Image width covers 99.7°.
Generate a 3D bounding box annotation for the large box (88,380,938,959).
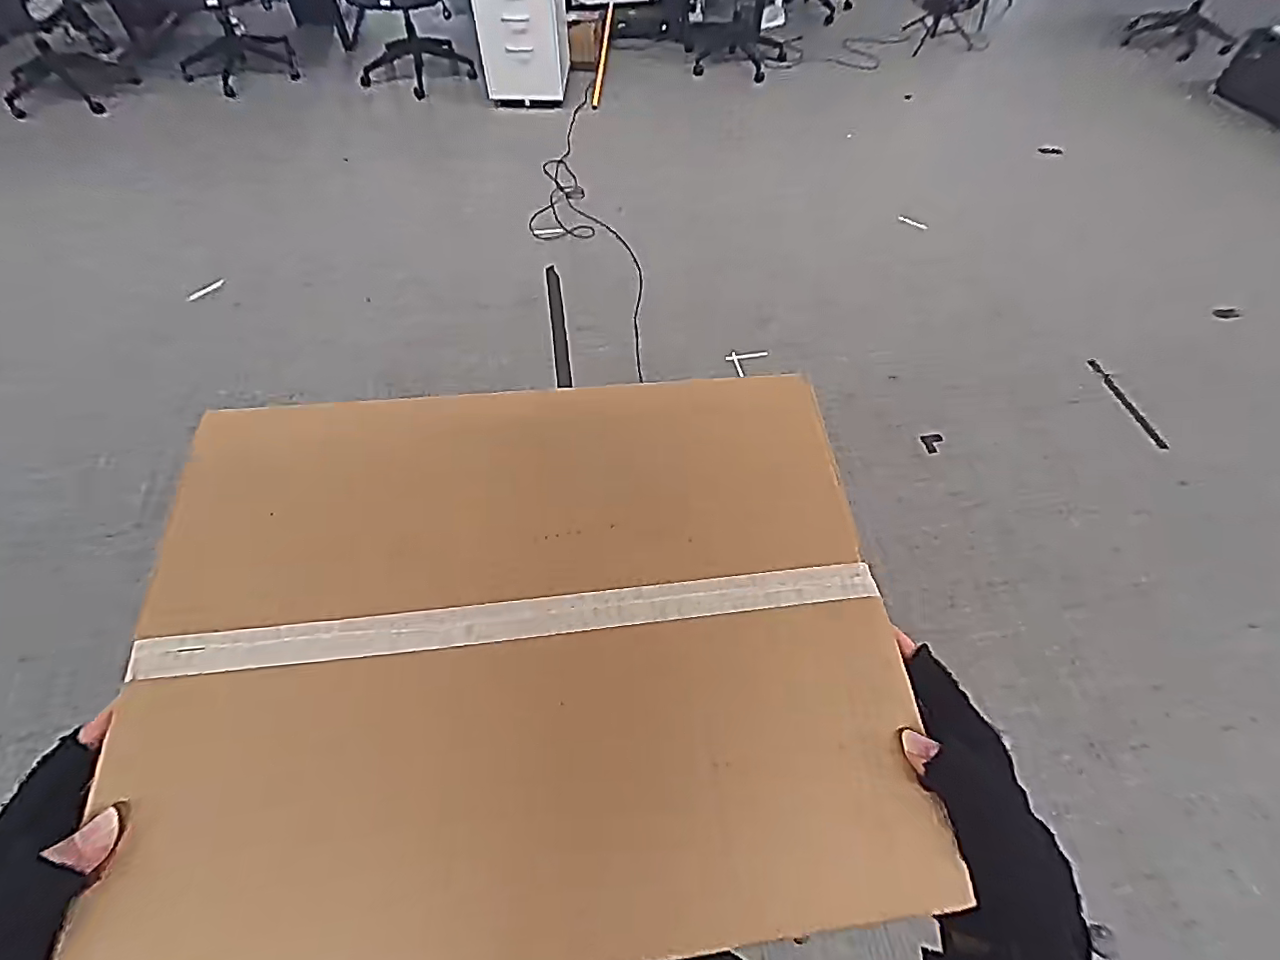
[{"bbox_3d":[-0.069,0.146,0.446,0.408,0.320,0.320,-5,63,-5],"label":"large box"}]
